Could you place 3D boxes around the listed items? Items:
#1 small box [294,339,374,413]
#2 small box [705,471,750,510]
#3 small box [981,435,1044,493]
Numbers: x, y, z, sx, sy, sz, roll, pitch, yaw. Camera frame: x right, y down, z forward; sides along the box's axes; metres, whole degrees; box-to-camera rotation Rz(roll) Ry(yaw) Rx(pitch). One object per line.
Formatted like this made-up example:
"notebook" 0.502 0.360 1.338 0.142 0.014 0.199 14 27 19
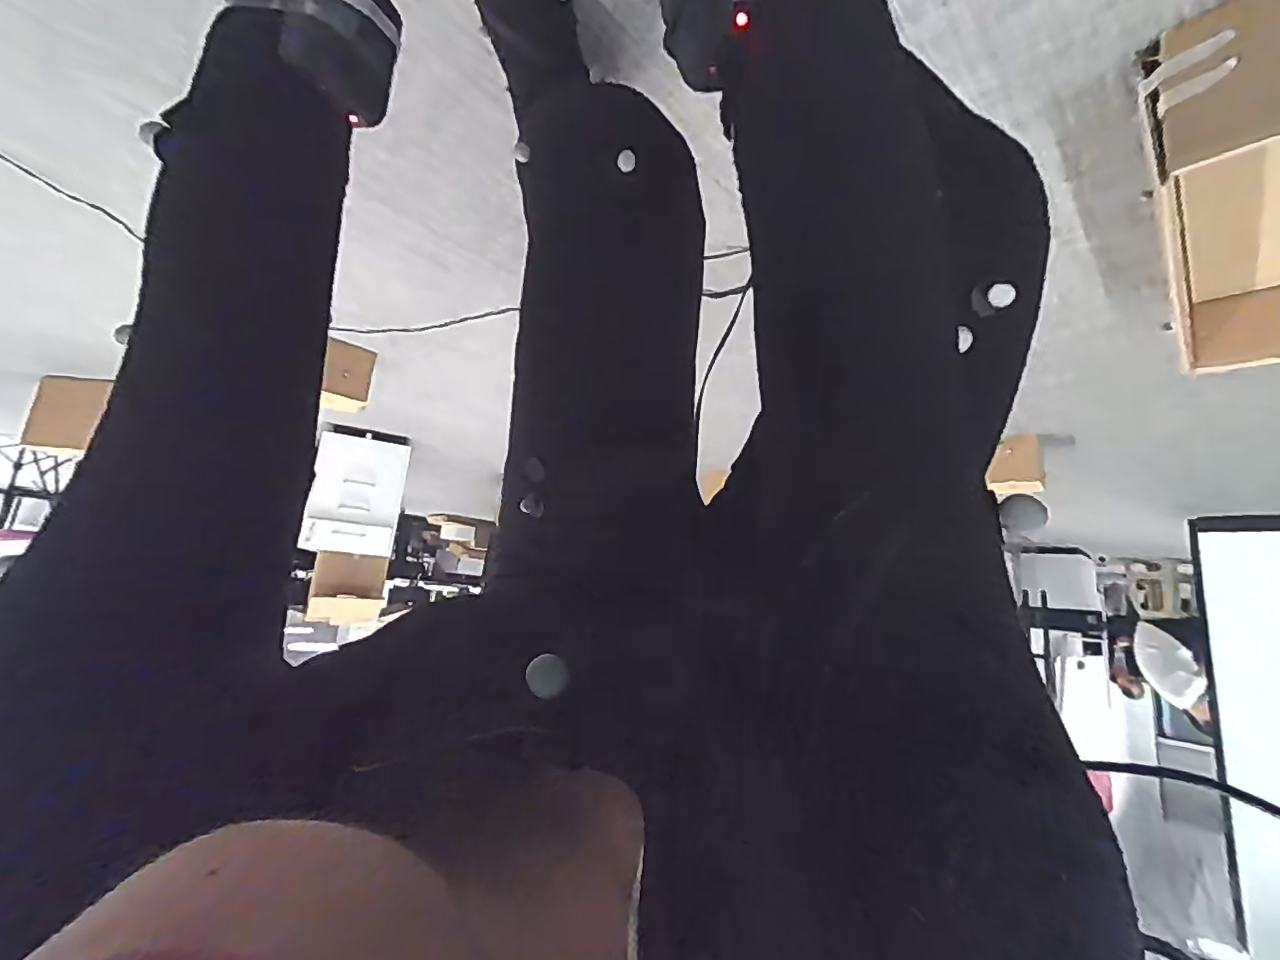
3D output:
"small box" -0.955 -0.324 1.694 0.179 0.176 0.168 14 165 -39
"small box" 0.469 0.055 2.855 0.168 0.176 0.179 17 163 -42
"small box" 1.327 -0.053 1.924 0.168 0.176 0.179 -6 163 41
